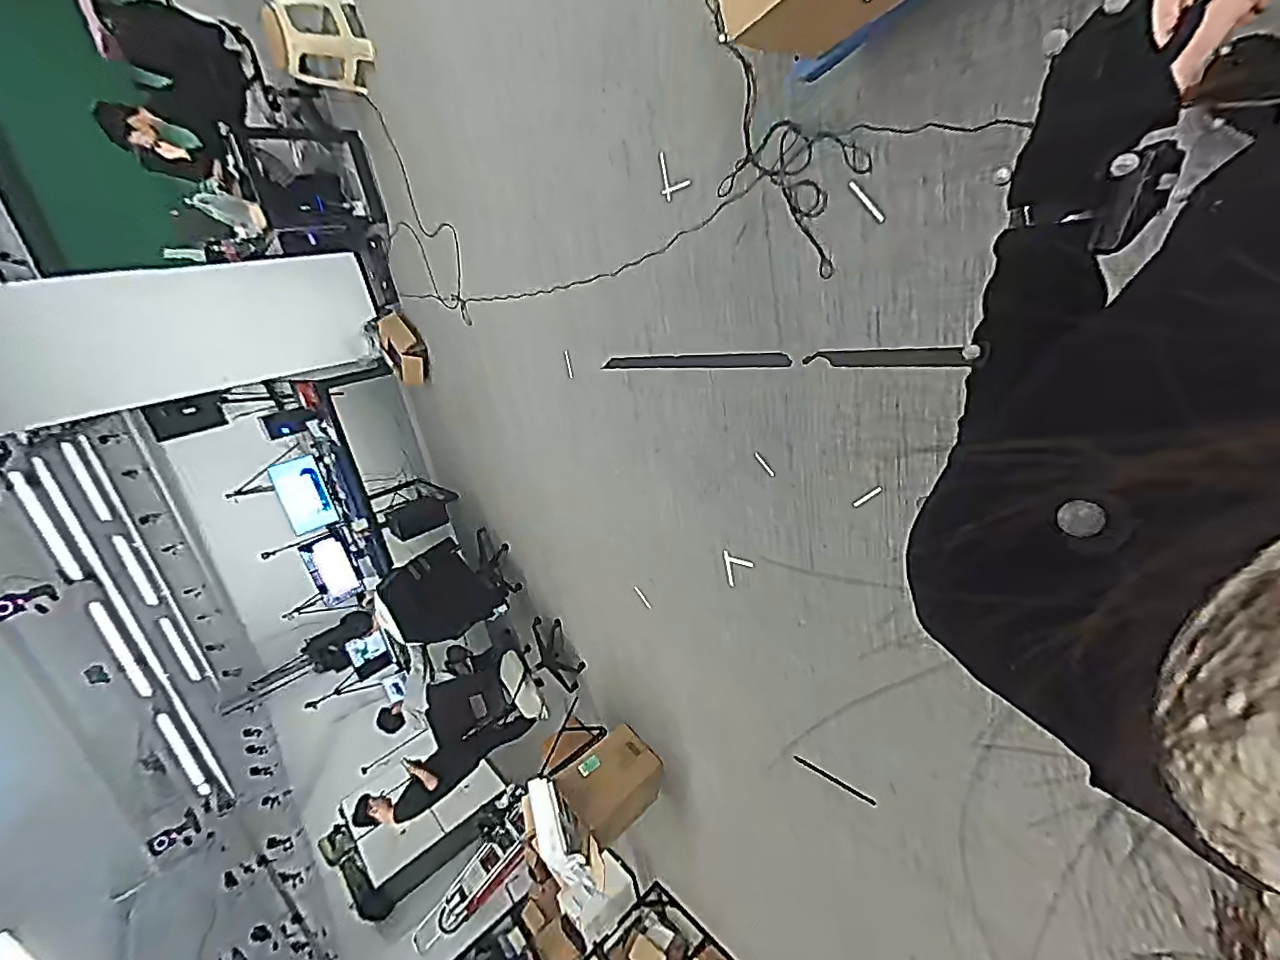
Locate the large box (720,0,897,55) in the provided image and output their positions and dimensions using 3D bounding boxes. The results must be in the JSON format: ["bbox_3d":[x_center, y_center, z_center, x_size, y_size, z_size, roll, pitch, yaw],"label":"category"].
[{"bbox_3d":[0.366,-1.035,0.939,0.408,0.320,0.320,2,111,52],"label":"large box"}]
